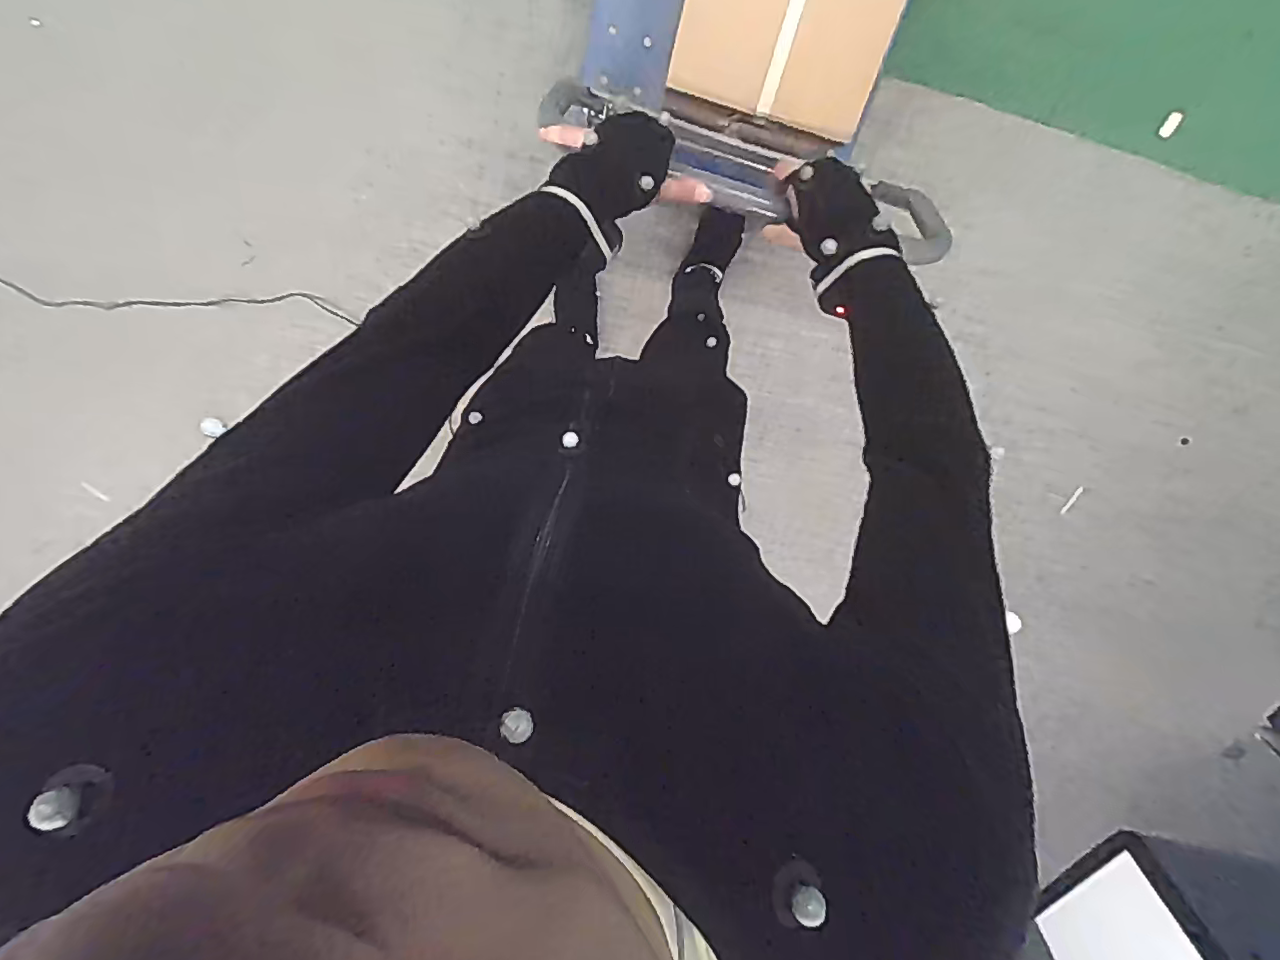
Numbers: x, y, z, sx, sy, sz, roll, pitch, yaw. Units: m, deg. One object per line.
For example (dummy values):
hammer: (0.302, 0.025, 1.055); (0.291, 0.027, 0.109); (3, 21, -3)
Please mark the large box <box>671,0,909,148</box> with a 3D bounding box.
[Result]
large box: (0.247, -0.812, 0.881); (0.320, 0.320, 0.408); (13, 119, -7)
